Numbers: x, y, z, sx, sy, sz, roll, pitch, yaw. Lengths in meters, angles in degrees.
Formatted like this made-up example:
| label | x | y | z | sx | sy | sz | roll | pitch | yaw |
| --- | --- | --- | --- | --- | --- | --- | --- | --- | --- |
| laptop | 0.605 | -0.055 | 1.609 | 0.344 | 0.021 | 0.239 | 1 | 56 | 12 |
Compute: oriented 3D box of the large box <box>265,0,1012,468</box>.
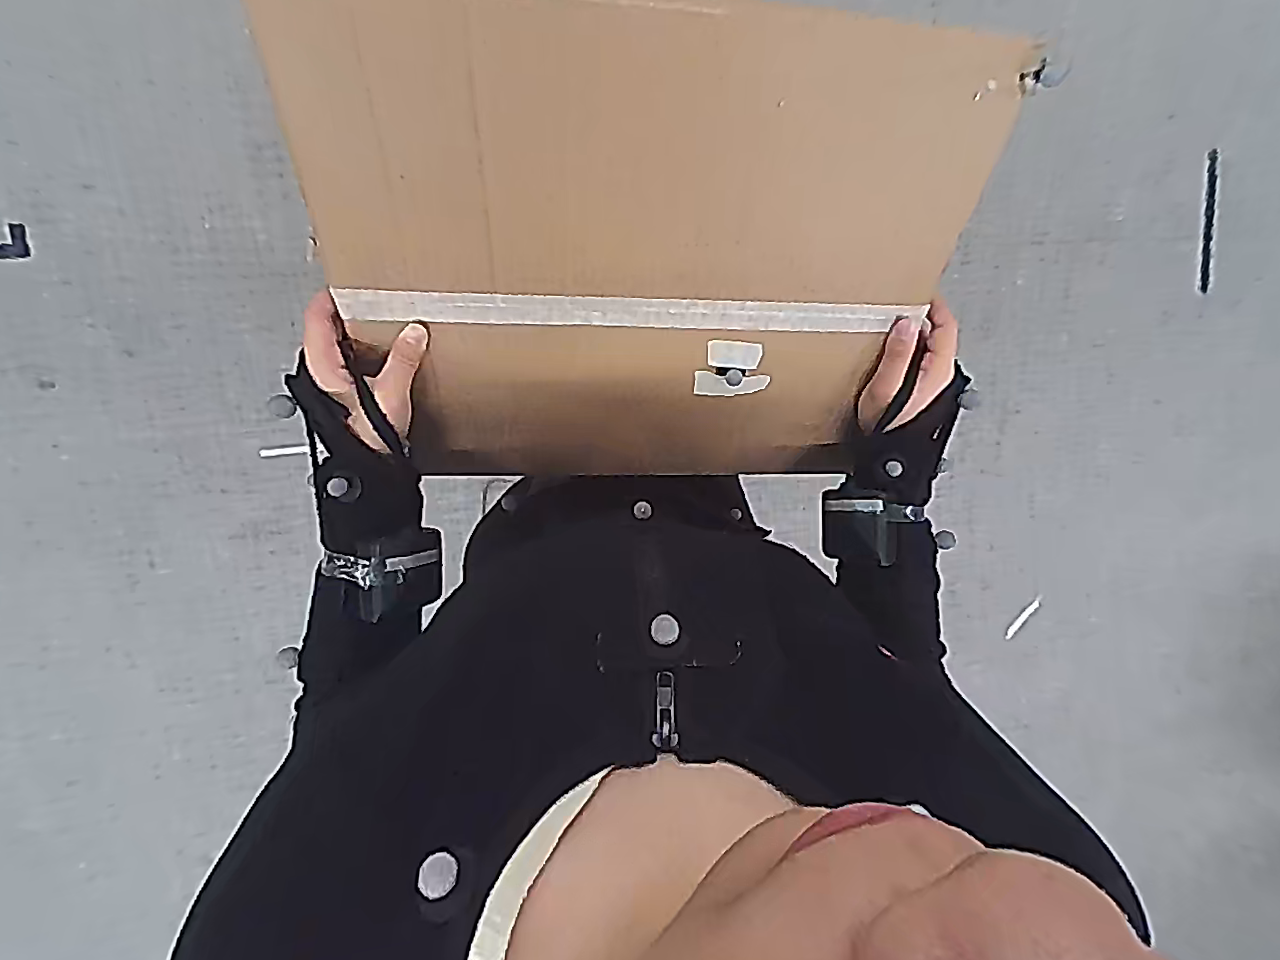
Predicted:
| label | x | y | z | sx | sy | sz | roll | pitch | yaw |
| --- | --- | --- | --- | --- | --- | --- | --- | --- | --- |
| large box | -0.012 | -0.231 | 0.489 | 0.408 | 0.320 | 0.320 | -2 | 135 | -7 |
